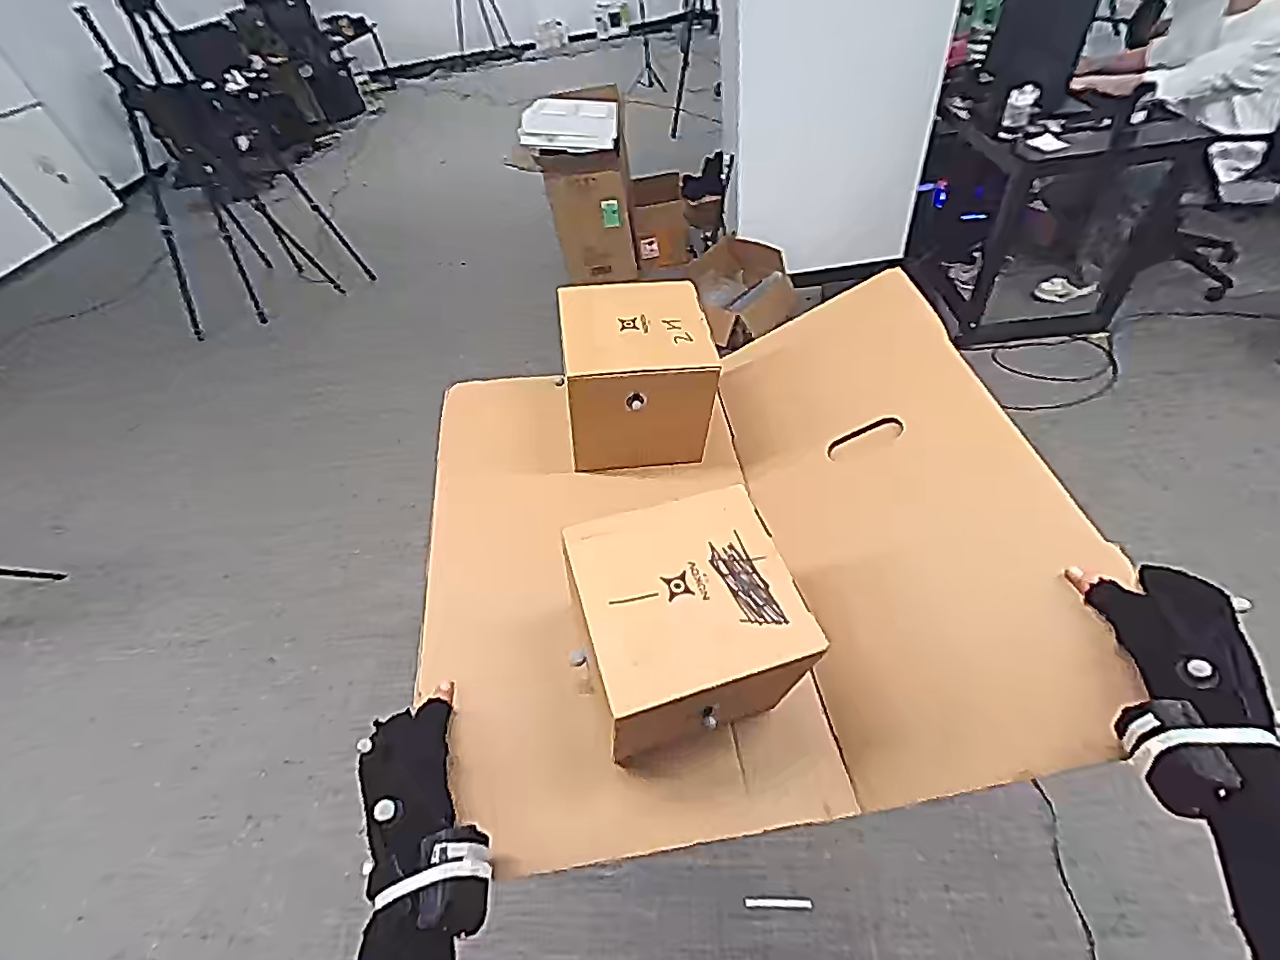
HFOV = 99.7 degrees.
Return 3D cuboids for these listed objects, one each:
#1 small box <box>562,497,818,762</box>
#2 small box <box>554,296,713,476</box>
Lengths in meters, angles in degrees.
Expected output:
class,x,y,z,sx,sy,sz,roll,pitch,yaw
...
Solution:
class,x,y,z,sx,sy,sz,roll,pitch,yaw
small box,0.032,0.144,0.514,0.179,0.176,0.168,-14,55,-12
small box,-0.015,-0.119,0.712,0.179,0.176,0.168,-5,53,-7
